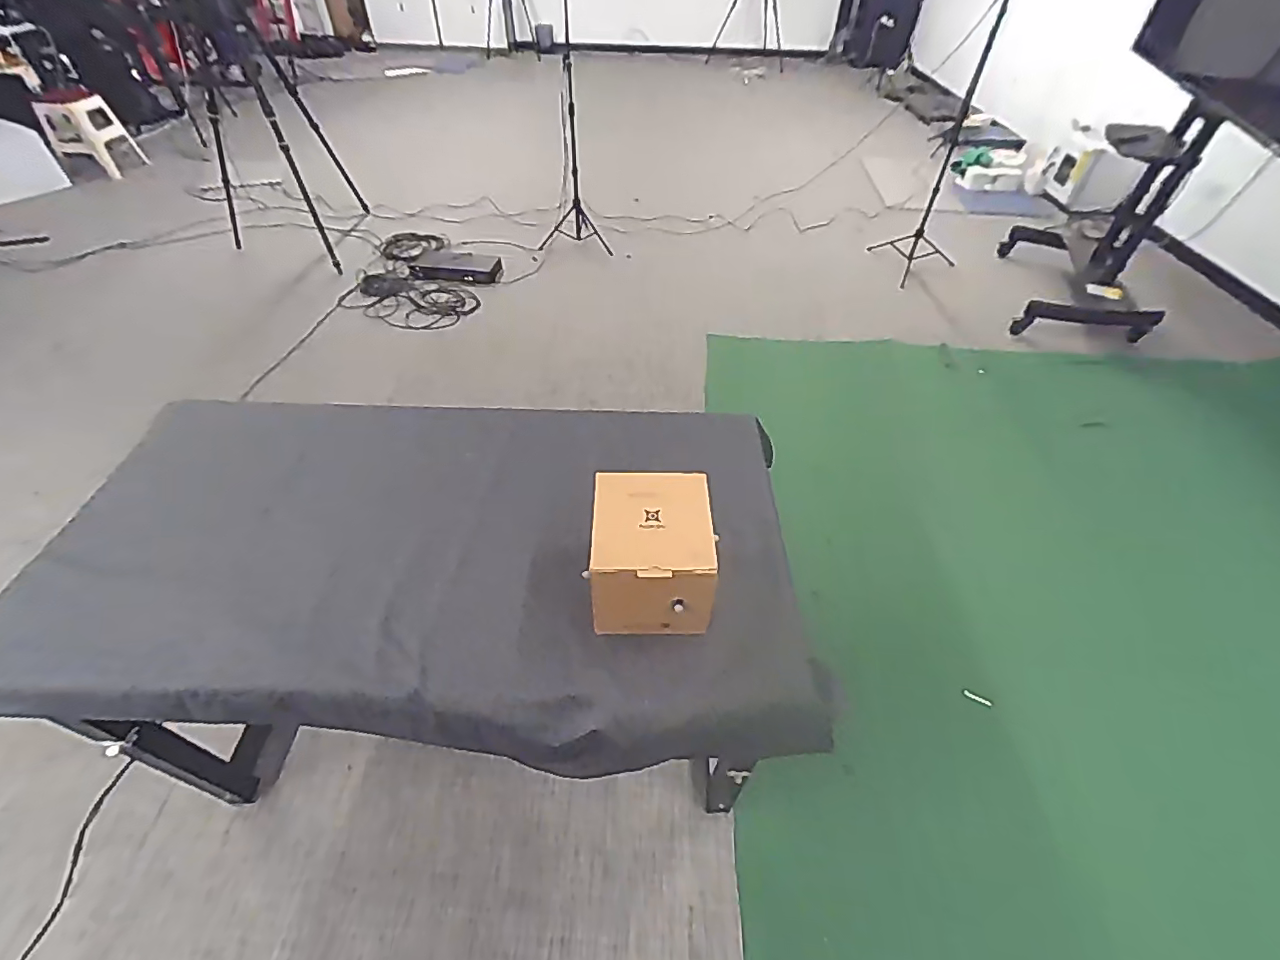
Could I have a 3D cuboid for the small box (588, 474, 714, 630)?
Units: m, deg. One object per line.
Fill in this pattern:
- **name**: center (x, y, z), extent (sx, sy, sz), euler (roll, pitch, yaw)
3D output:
- **small box**: center (0.013, 0.109, 0.803), extent (0.168, 0.176, 0.179), euler (0, 45, -2)
